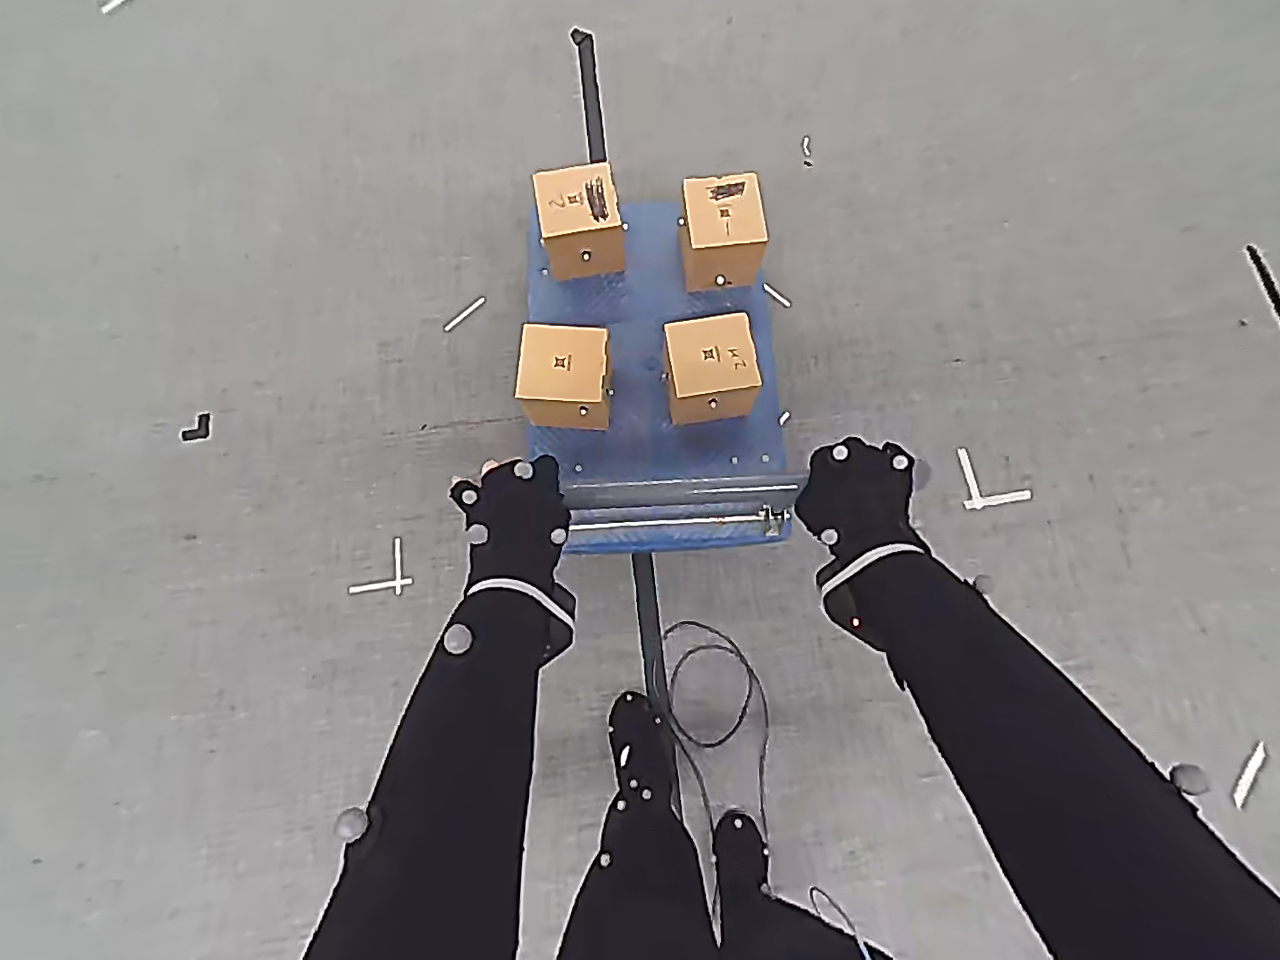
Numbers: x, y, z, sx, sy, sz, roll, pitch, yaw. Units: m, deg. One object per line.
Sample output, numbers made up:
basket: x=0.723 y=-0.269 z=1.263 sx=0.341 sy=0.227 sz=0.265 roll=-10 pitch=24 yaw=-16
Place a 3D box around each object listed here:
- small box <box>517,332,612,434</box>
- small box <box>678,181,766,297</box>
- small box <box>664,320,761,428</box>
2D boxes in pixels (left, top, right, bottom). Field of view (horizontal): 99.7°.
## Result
small box: x=-0.155 y=-0.204 z=1.174 sx=0.179 sy=0.176 sz=0.168 roll=3 pitch=76 yaw=0
small box: x=0.182 y=-0.552 z=1.252 sx=0.168 sy=0.176 sz=0.179 roll=-6 pitch=78 yaw=-1
small box: x=0.148 y=-0.223 z=1.176 sx=0.179 sy=0.176 sz=0.168 roll=-9 pitch=77 yaw=-2
